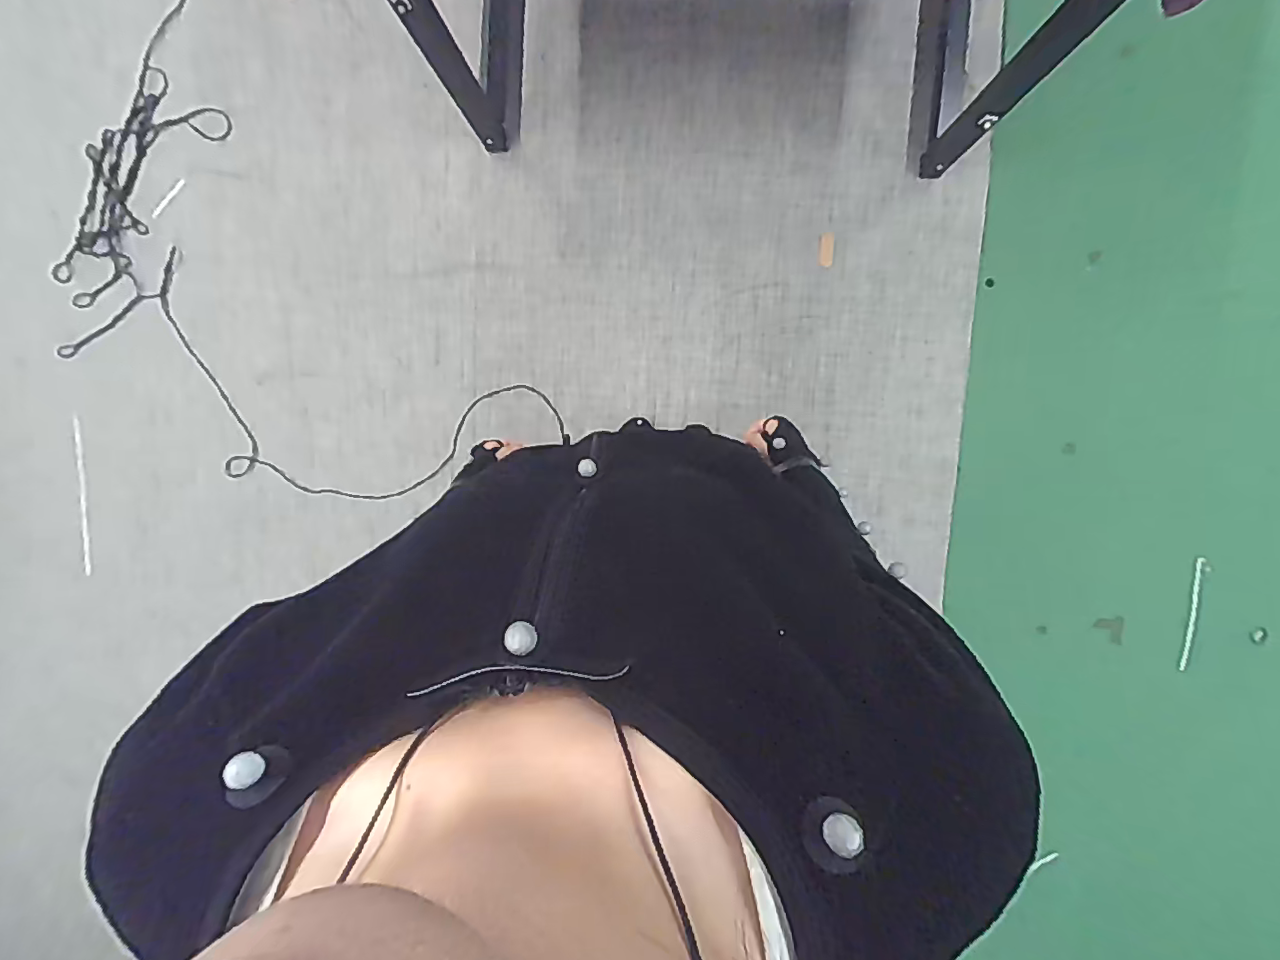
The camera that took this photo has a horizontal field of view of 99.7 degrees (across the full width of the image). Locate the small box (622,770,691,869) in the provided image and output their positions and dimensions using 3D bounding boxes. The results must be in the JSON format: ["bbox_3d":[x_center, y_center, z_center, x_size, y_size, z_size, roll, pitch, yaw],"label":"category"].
[{"bbox_3d":[0.050,0.915,1.471,0.179,0.176,0.168,-2,93,7],"label":"small box"}]
